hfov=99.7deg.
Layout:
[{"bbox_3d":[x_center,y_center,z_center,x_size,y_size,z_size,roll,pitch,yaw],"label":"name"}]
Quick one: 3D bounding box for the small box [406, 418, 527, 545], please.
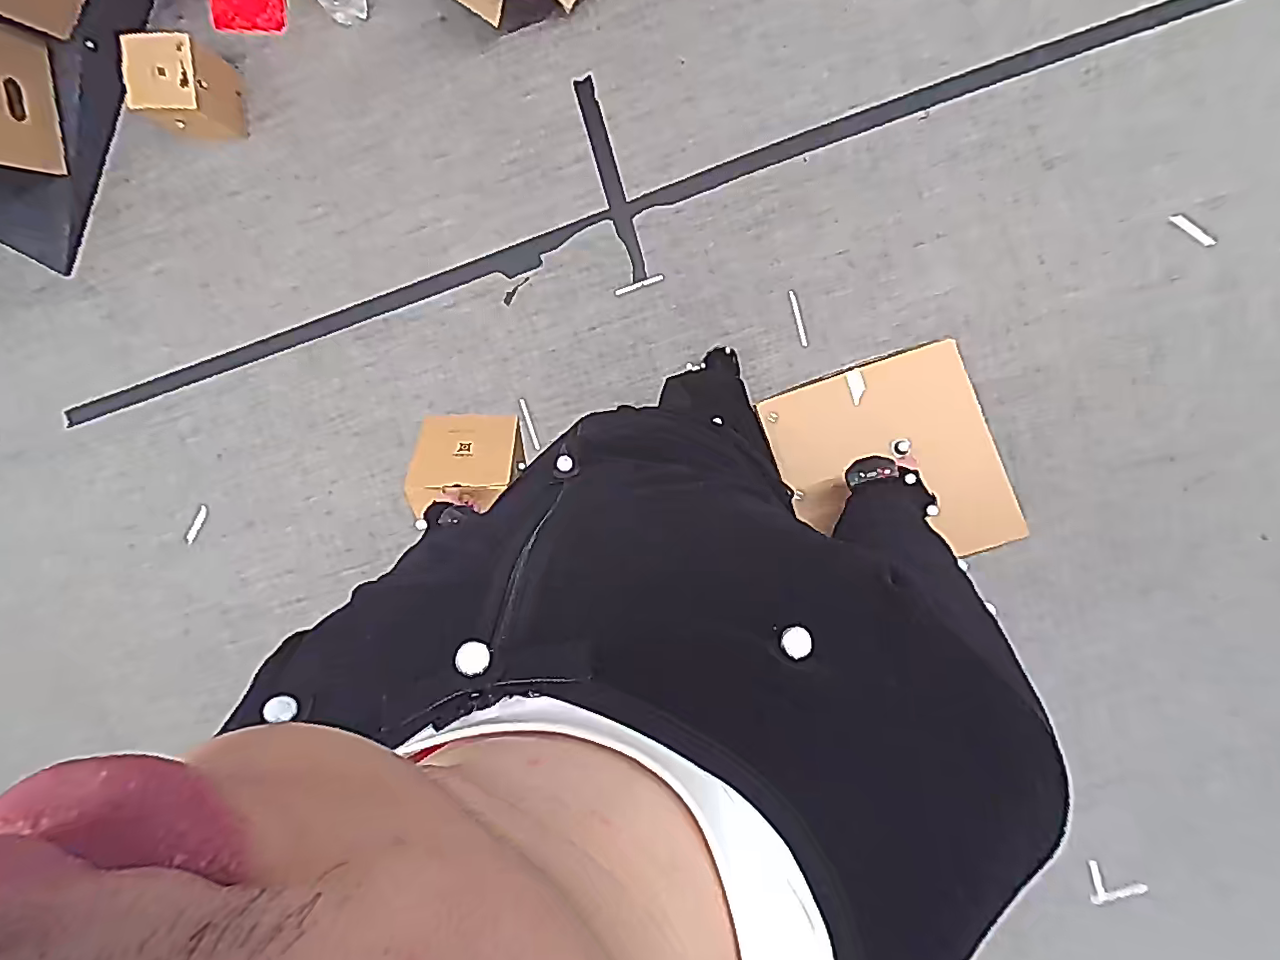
[{"bbox_3d":[-0.301,0.006,0.979,0.168,0.179,0.176,0,138,-4],"label":"small box"}]
